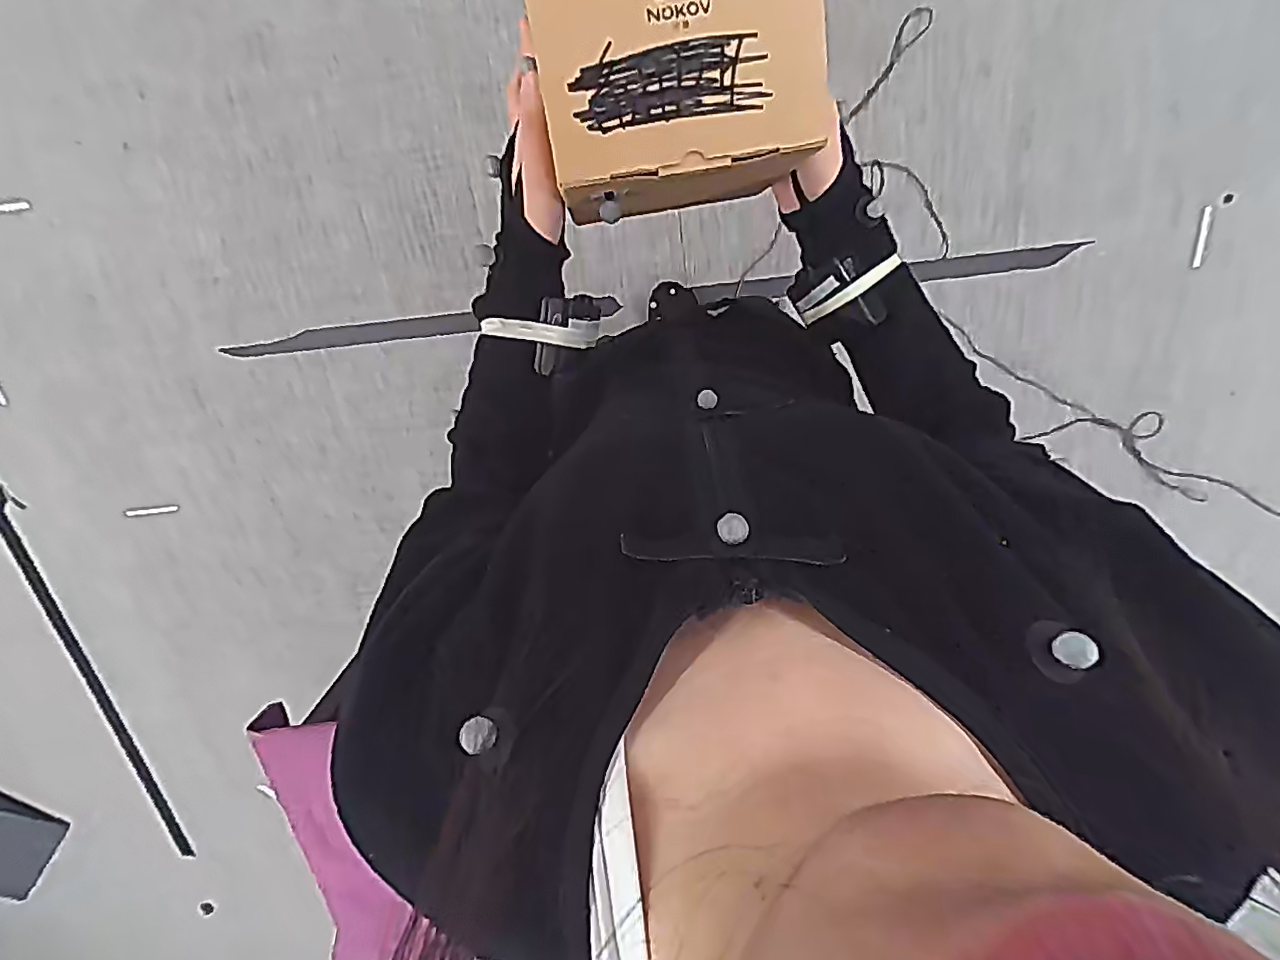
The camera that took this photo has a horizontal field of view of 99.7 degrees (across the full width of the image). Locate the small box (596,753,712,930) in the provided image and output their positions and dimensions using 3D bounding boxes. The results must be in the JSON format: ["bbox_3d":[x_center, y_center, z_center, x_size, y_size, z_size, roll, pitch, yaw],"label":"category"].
[{"bbox_3d":[0.024,0.575,0.871,0.168,0.176,0.179,-5,110,1],"label":"small box"}]
